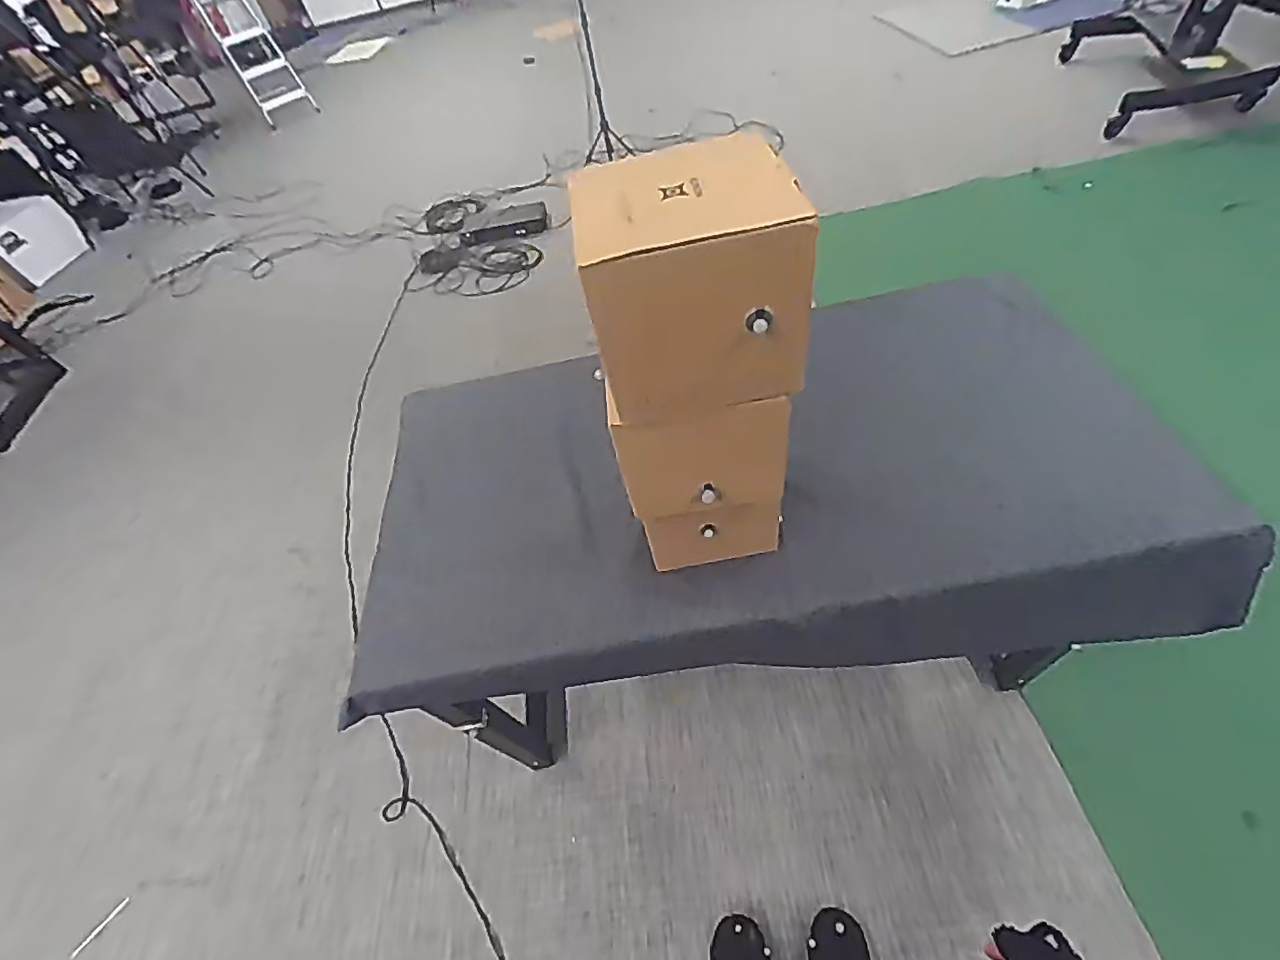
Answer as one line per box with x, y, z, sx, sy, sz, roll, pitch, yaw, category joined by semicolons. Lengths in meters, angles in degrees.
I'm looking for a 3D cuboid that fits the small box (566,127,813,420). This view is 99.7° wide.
0.041;-0.180;0.492;0.179;0.176;0.168;-12;51;4;small box

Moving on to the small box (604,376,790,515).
0.059;-0.081;0.623;0.179;0.176;0.168;-12;54;4;small box

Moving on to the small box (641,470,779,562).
0.086;-0.004;0.762;0.179;0.176;0.168;-12;52;4;small box
